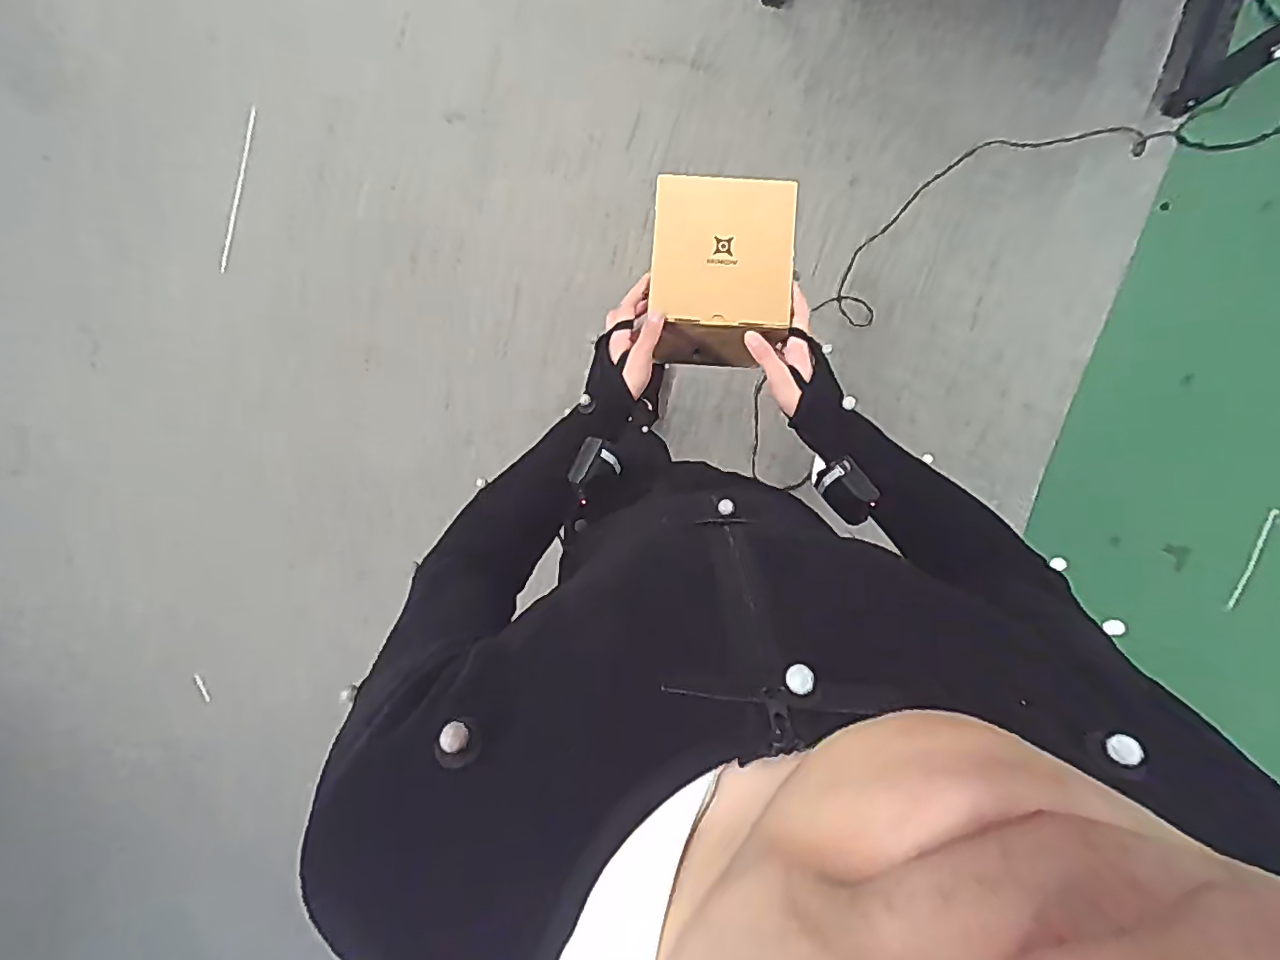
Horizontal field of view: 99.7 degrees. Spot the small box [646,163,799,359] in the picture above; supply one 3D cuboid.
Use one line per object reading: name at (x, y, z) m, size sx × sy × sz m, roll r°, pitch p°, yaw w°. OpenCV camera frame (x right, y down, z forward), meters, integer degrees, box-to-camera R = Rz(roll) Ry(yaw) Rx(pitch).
small box at (0.097, -0.270, 0.700) m, size 0.168 × 0.176 × 0.179 m, roll 4°, pitch 88°, yaw 0°
